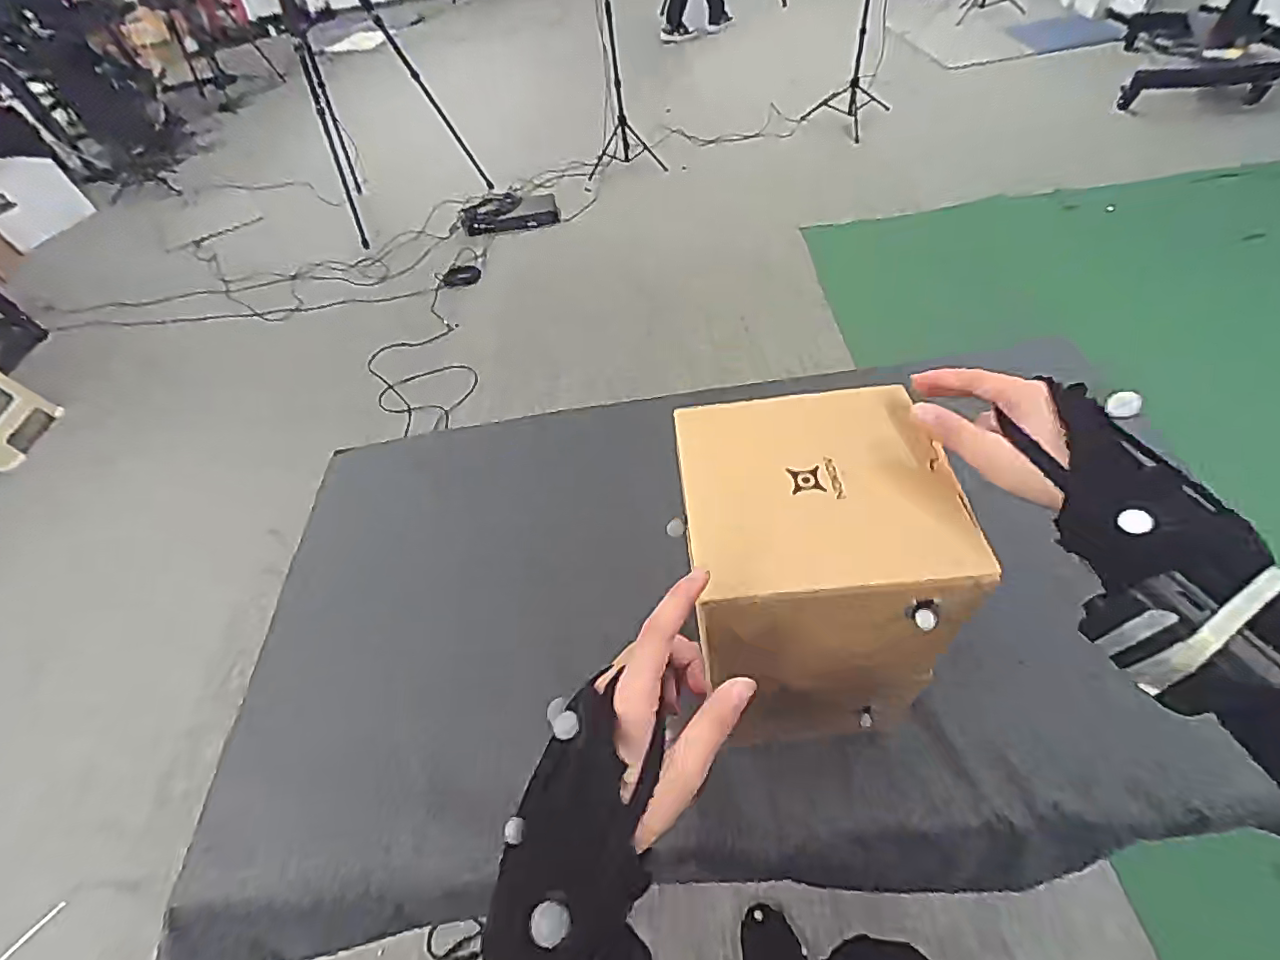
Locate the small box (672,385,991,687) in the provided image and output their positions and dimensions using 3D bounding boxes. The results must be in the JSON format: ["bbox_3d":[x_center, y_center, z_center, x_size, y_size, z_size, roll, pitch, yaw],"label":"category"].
[{"bbox_3d":[0.124,0.051,0.425,0.179,0.176,0.168,-6,50,3],"label":"small box"}]

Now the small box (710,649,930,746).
[{"bbox_3d":[0.153,0.155,0.547,0.179,0.176,0.168,-9,50,4],"label":"small box"}]
